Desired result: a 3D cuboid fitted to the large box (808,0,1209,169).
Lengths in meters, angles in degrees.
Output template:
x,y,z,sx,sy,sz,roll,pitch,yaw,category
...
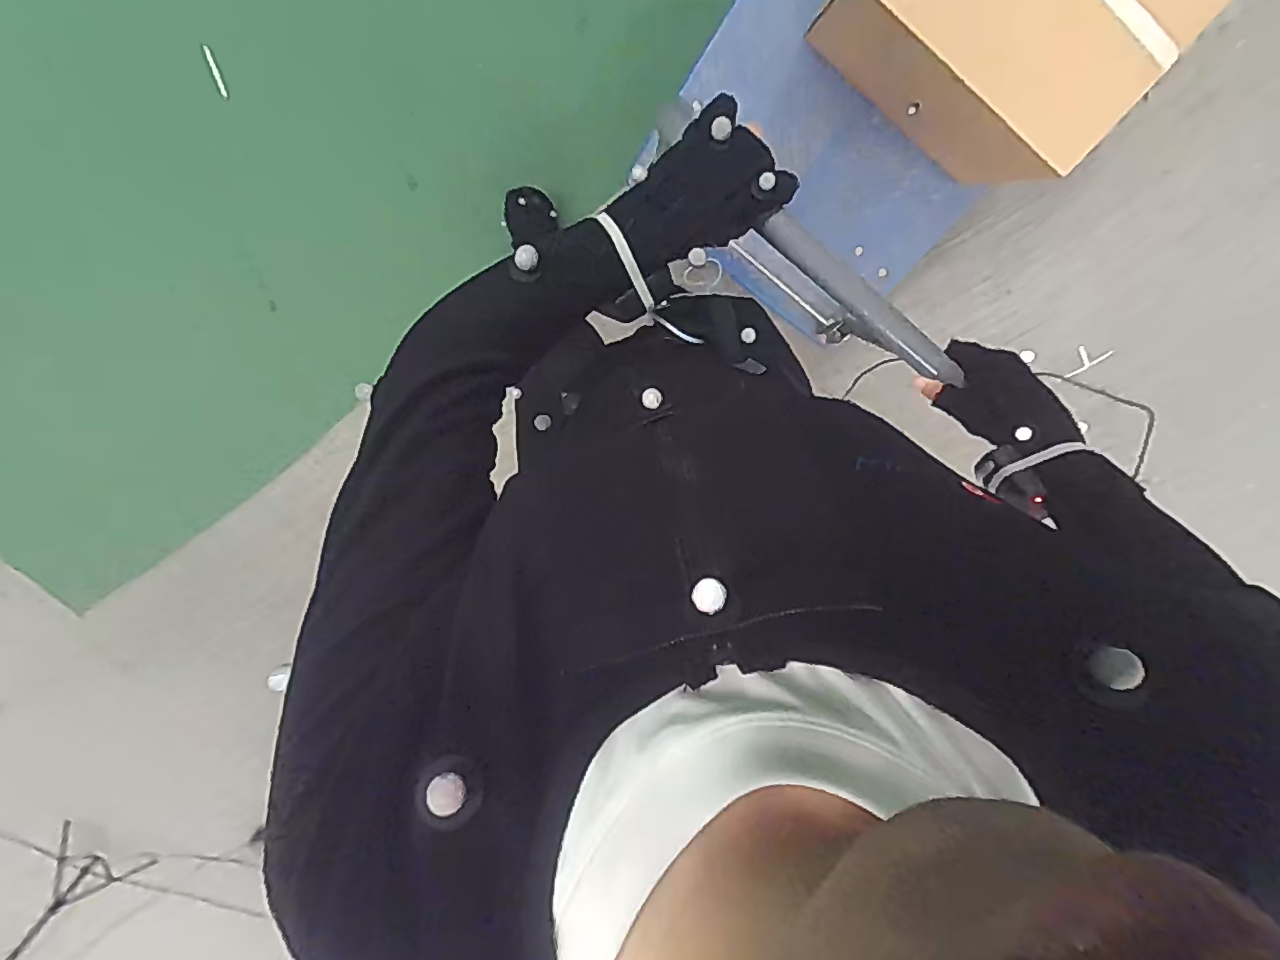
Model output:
x,y,z,sx,sy,sz,roll,pitch,yaw,category
0.529,-0.727,0.801,0.408,0.320,0.320,31,114,-12,large box
